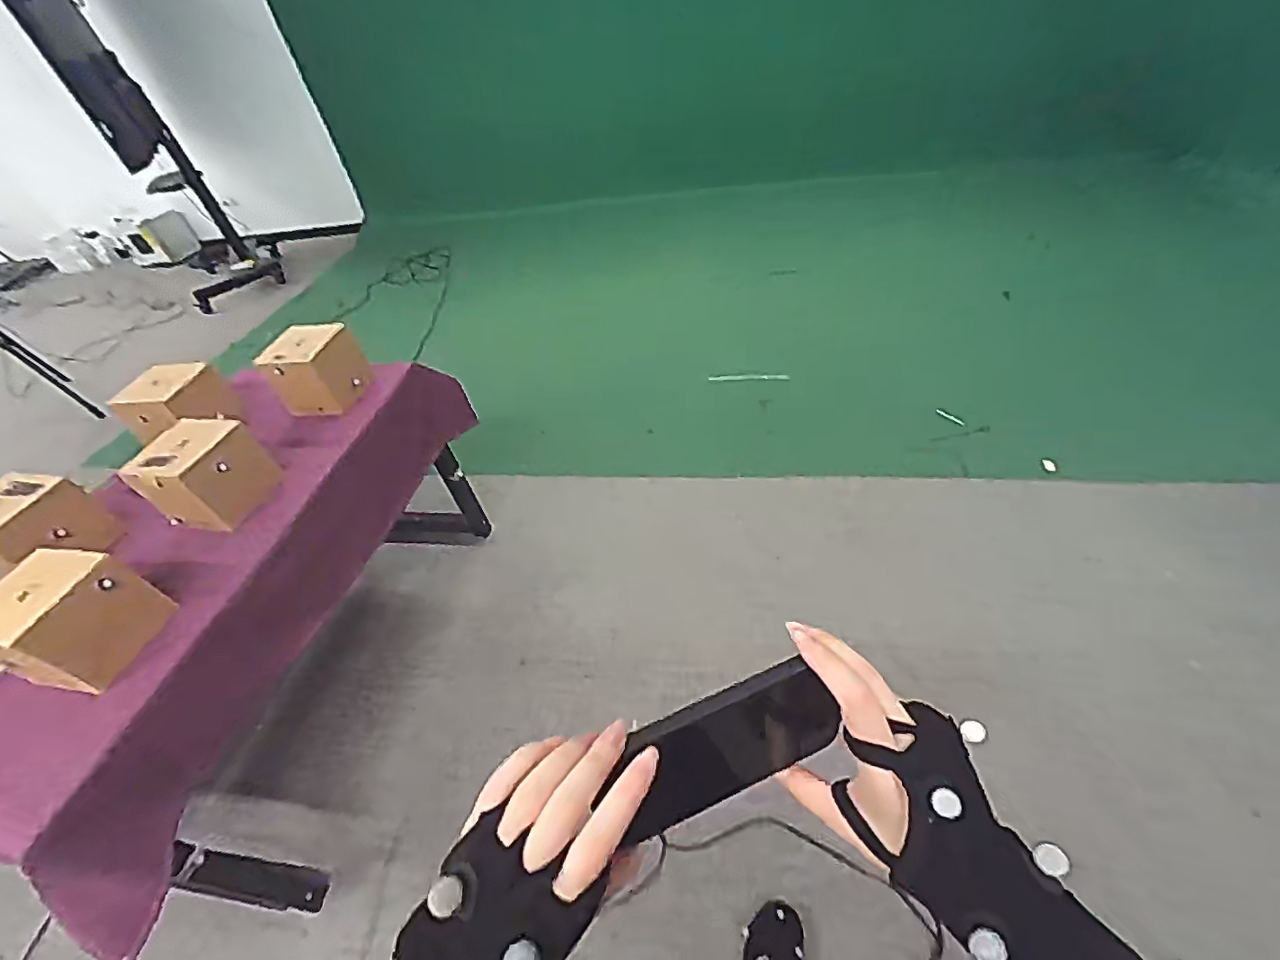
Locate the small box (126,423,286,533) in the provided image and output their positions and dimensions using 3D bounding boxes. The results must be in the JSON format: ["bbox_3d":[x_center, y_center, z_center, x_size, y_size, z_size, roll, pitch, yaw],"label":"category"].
[{"bbox_3d":[-0.926,-0.004,1.175,0.168,0.176,0.179,3,45,15],"label":"small box"}]

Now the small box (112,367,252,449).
[{"bbox_3d":[-1.167,-0.172,1.393,0.179,0.176,0.168,-1,46,11],"label":"small box"}]

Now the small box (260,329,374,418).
[{"bbox_3d":[-0.842,-0.282,1.436,0.168,0.176,0.179,0,45,12],"label":"small box"}]

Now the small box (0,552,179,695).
[{"bbox_3d":[-0.970,0.248,0.932,0.168,0.176,0.179,2,45,14],"label":"small box"}]
